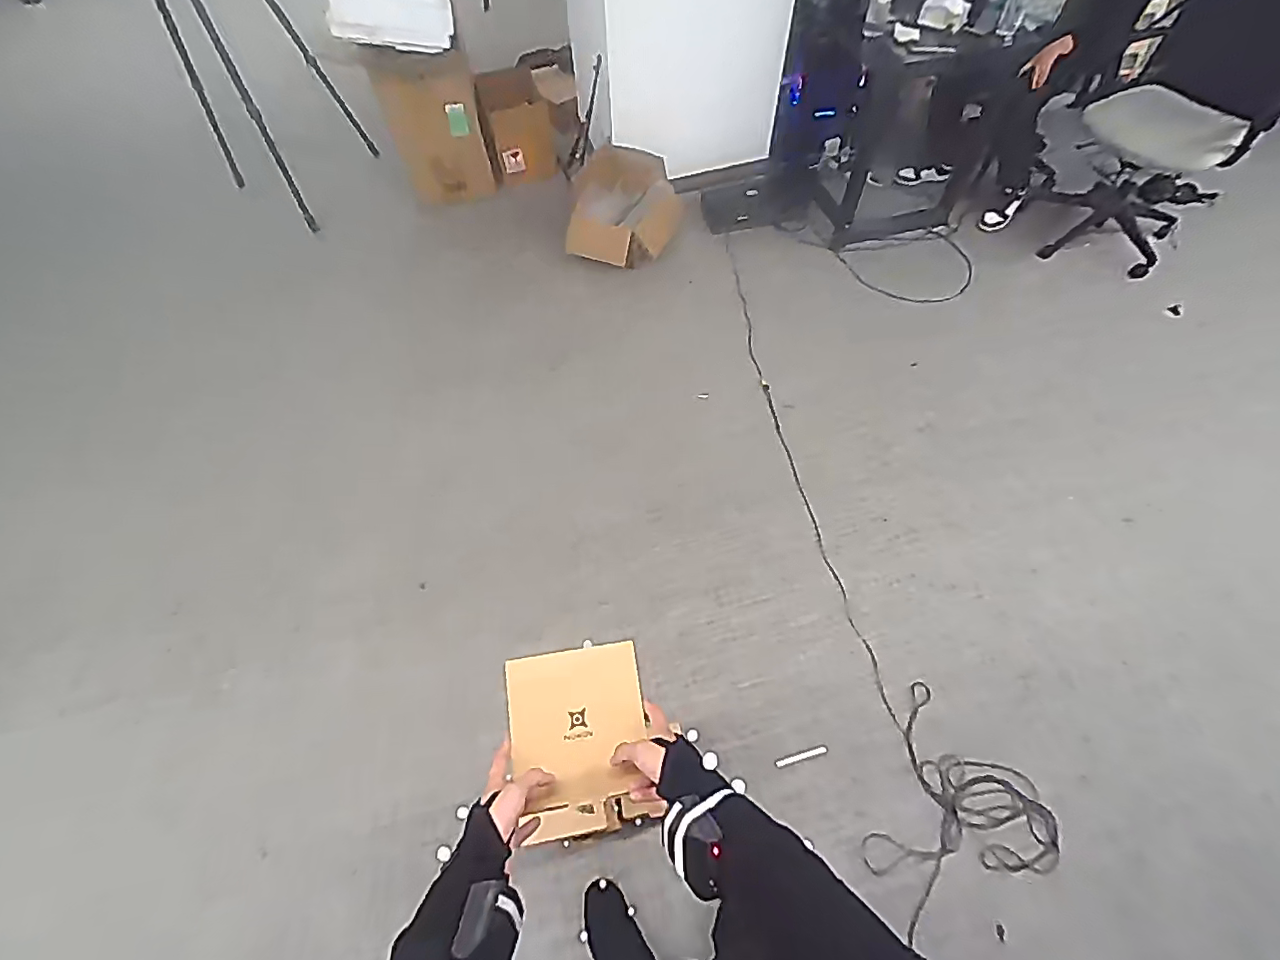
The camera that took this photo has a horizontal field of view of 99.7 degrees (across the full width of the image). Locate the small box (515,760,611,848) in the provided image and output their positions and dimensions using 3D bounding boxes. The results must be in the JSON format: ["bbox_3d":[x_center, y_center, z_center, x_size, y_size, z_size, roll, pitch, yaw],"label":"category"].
[{"bbox_3d":[-0.159,0.671,1.158,0.179,0.176,0.168,-11,58,-3],"label":"small box"}]

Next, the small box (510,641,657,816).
[{"bbox_3d":[-0.078,0.326,0.731,0.168,0.176,0.179,-7,70,-7],"label":"small box"}]
